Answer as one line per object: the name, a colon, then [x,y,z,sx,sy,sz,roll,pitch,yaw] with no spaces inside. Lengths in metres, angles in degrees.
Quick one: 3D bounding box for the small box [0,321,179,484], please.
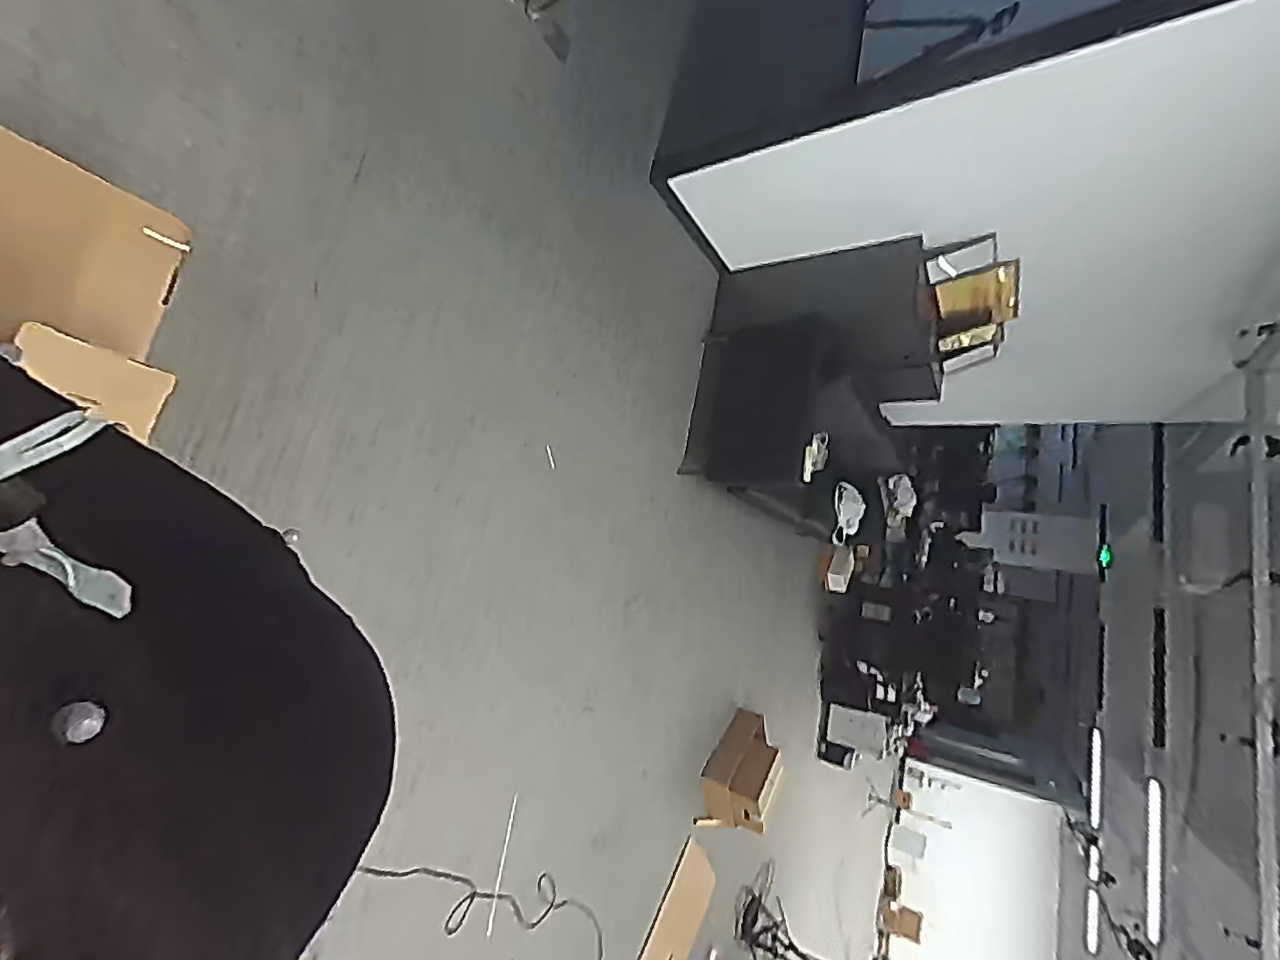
small box: [-0.829,-0.102,0.785,0.168,0.176,0.179,32,65,-53]
